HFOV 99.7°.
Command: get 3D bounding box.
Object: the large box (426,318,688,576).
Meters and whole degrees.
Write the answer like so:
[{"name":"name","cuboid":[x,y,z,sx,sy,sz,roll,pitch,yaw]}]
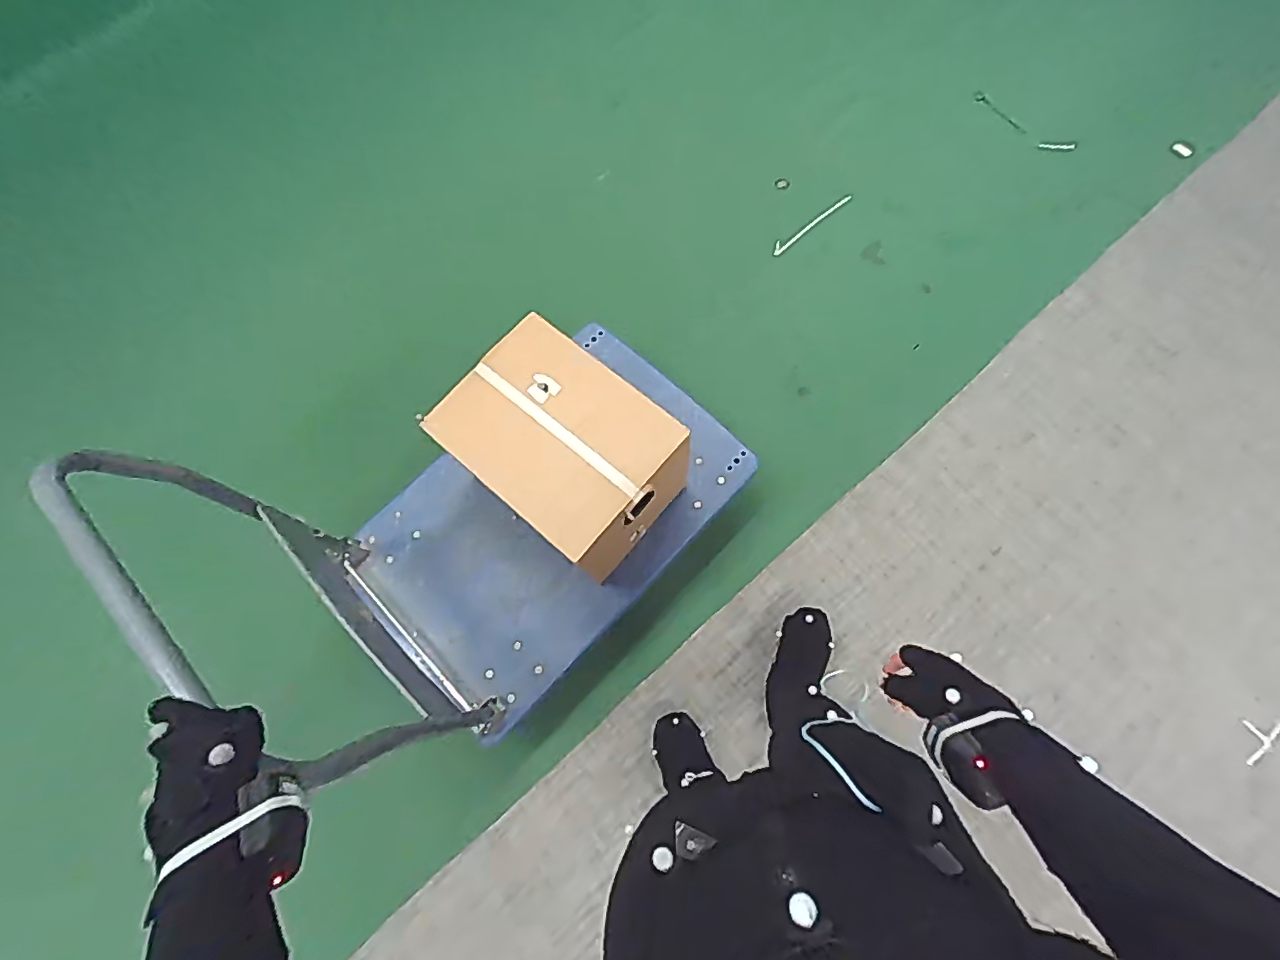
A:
[{"name":"large box","cuboid":[-0.145,-0.051,1.140,0.408,0.320,0.320,38,78,15]}]
